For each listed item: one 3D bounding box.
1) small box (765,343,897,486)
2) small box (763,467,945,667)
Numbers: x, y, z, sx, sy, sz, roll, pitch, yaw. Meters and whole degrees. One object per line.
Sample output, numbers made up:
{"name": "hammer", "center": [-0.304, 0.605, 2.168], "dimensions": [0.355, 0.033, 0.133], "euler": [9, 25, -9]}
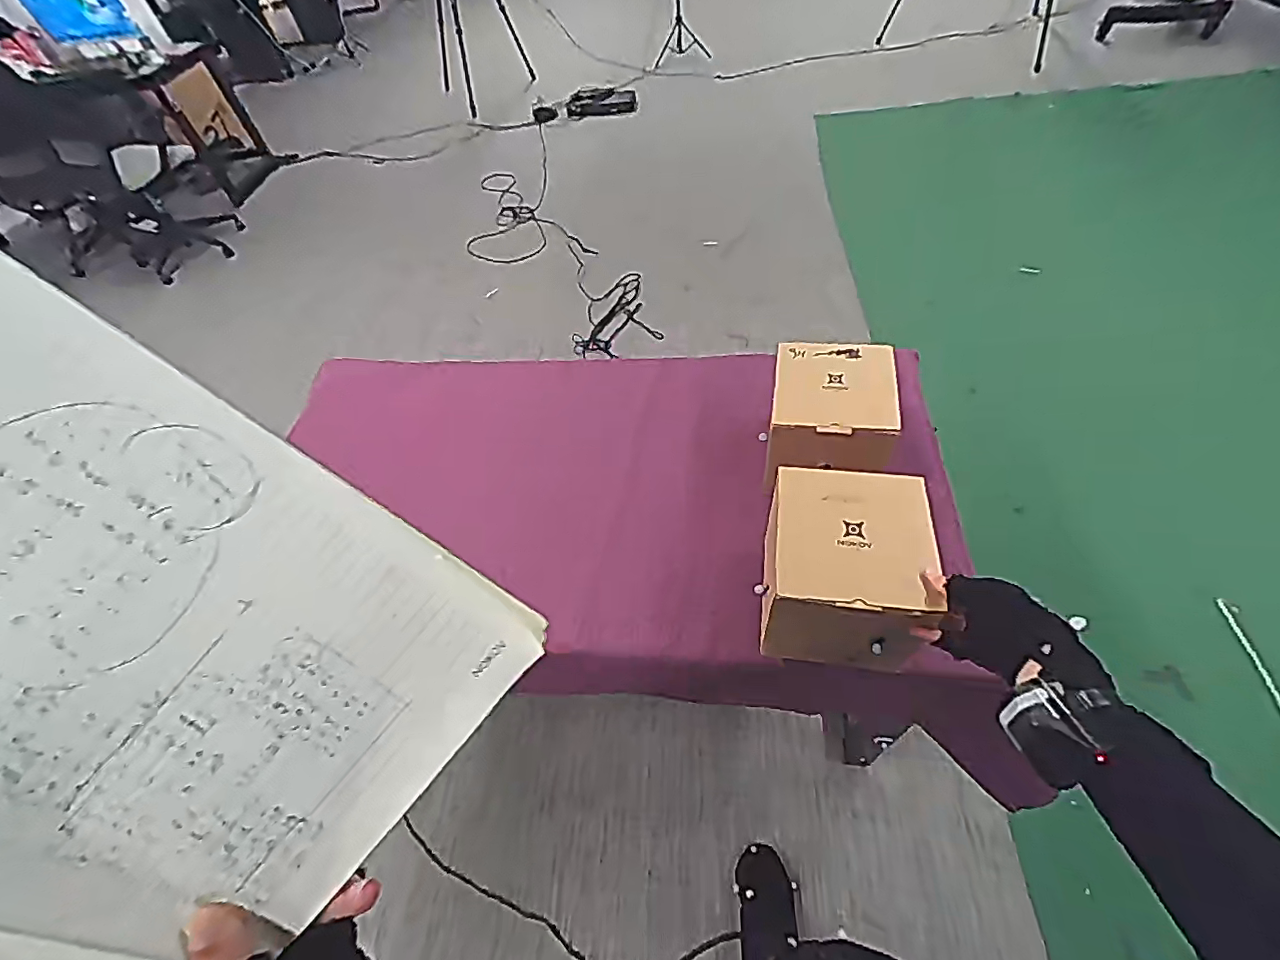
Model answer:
{"name": "small box", "center": [0.284, -0.086, 0.826], "dimensions": [0.168, 0.176, 0.179], "euler": [6, 55, 13]}
{"name": "small box", "center": [0.240, 0.108, 0.649], "dimensions": [0.168, 0.176, 0.179], "euler": [4, 52, 10]}
